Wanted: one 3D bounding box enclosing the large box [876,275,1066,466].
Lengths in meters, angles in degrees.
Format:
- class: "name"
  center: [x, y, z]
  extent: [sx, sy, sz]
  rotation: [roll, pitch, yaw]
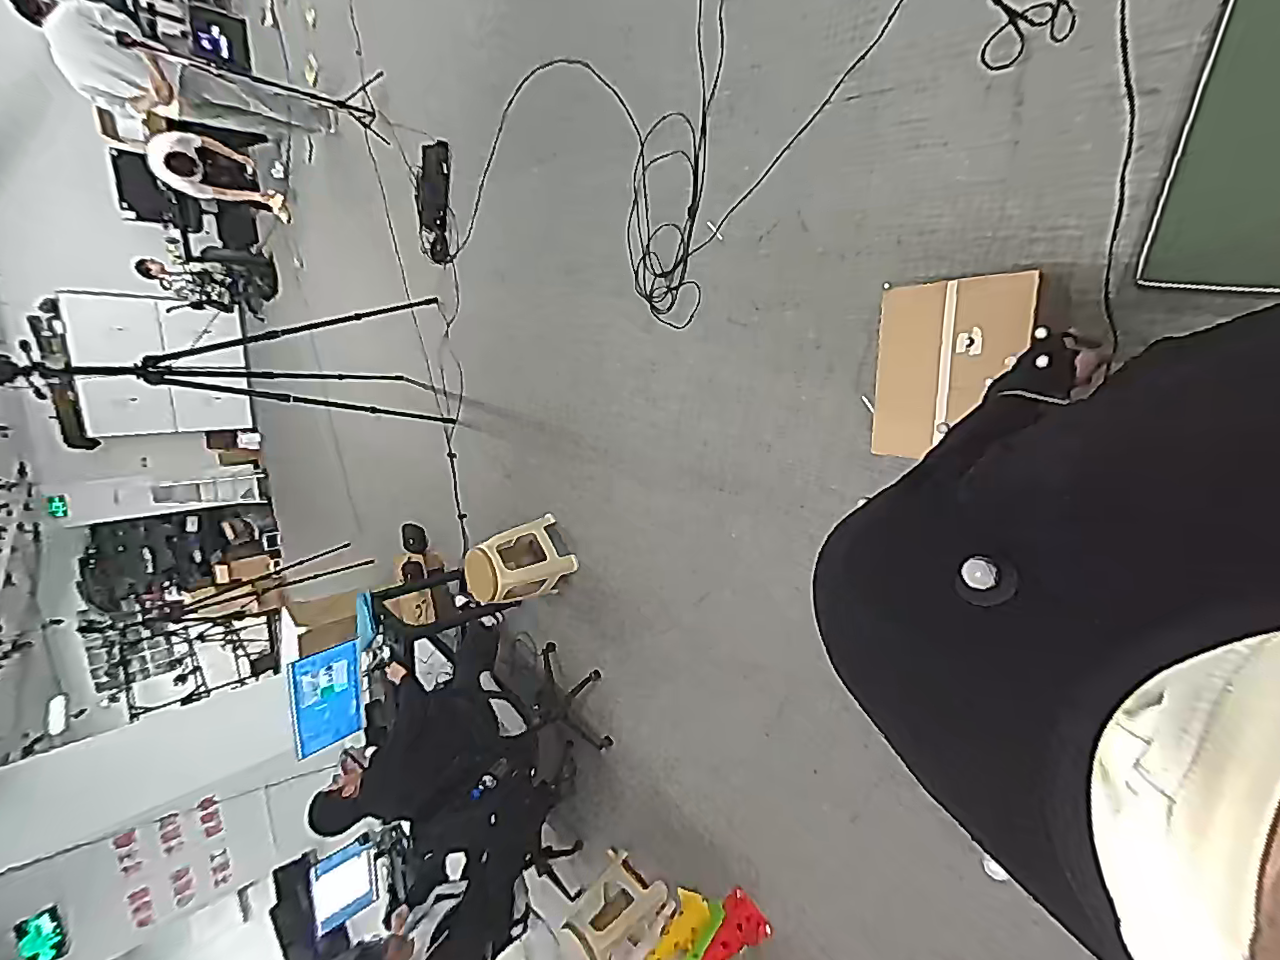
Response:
- class: "large box"
  center: [0.813, -0.255, 1.337]
  extent: [0.320, 0.320, 0.408]
  rotation: [10, 104, 45]
